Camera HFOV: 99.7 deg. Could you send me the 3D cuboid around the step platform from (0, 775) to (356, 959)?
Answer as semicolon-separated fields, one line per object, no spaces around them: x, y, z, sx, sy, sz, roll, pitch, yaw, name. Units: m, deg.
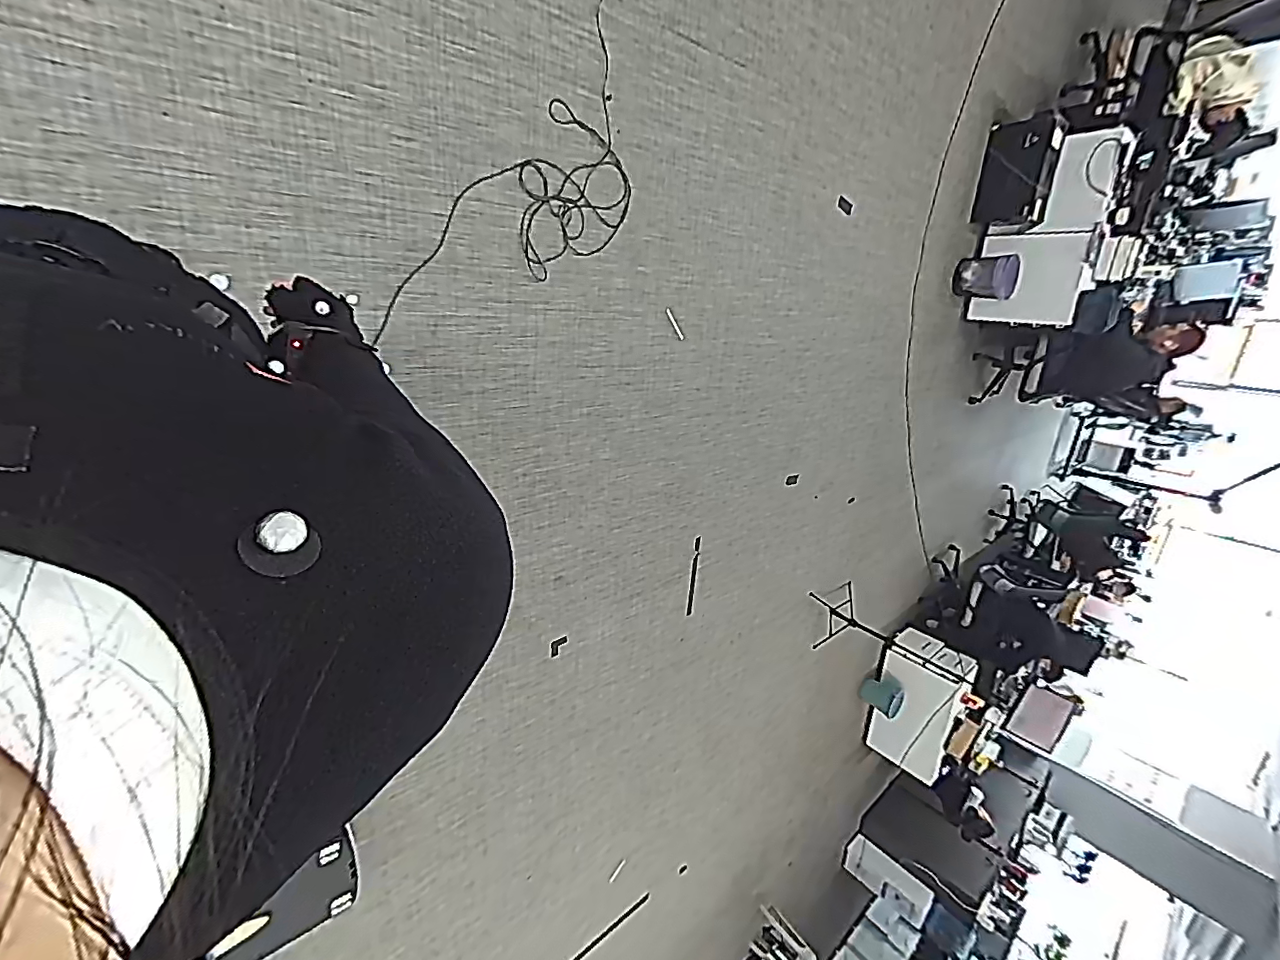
-1.097;1.065;1.356;0.684;0.204;0.286;-14;115;-38;step platform
